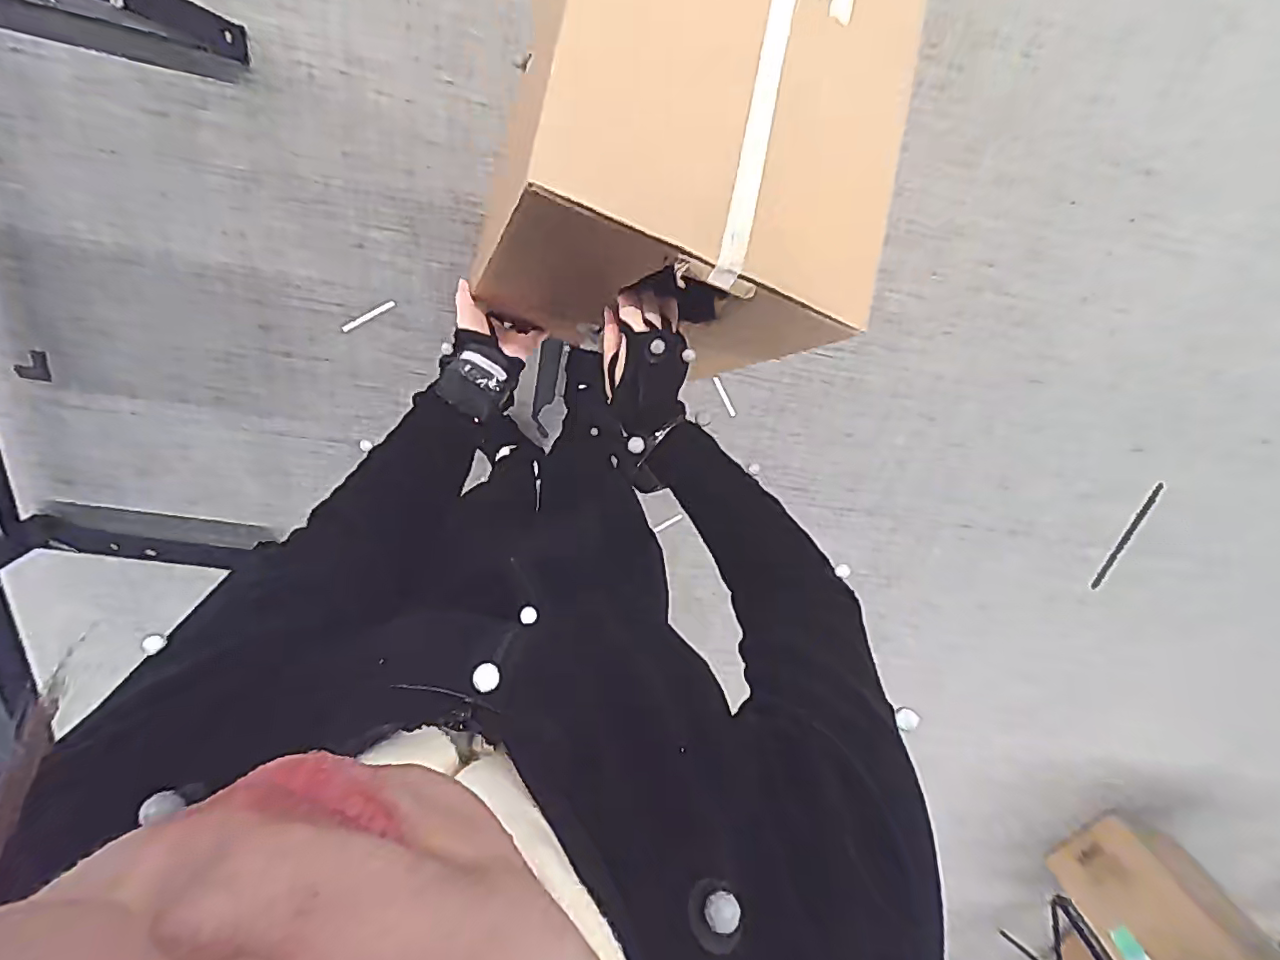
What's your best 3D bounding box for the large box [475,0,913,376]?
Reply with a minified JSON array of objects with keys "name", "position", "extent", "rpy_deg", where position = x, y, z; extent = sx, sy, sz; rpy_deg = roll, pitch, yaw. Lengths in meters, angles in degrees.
[{"name":"large box","position":[0.034,-0.361,0.566],"extent":[0.320,0.320,0.408],"rpy_deg":[13,85,-25]}]
